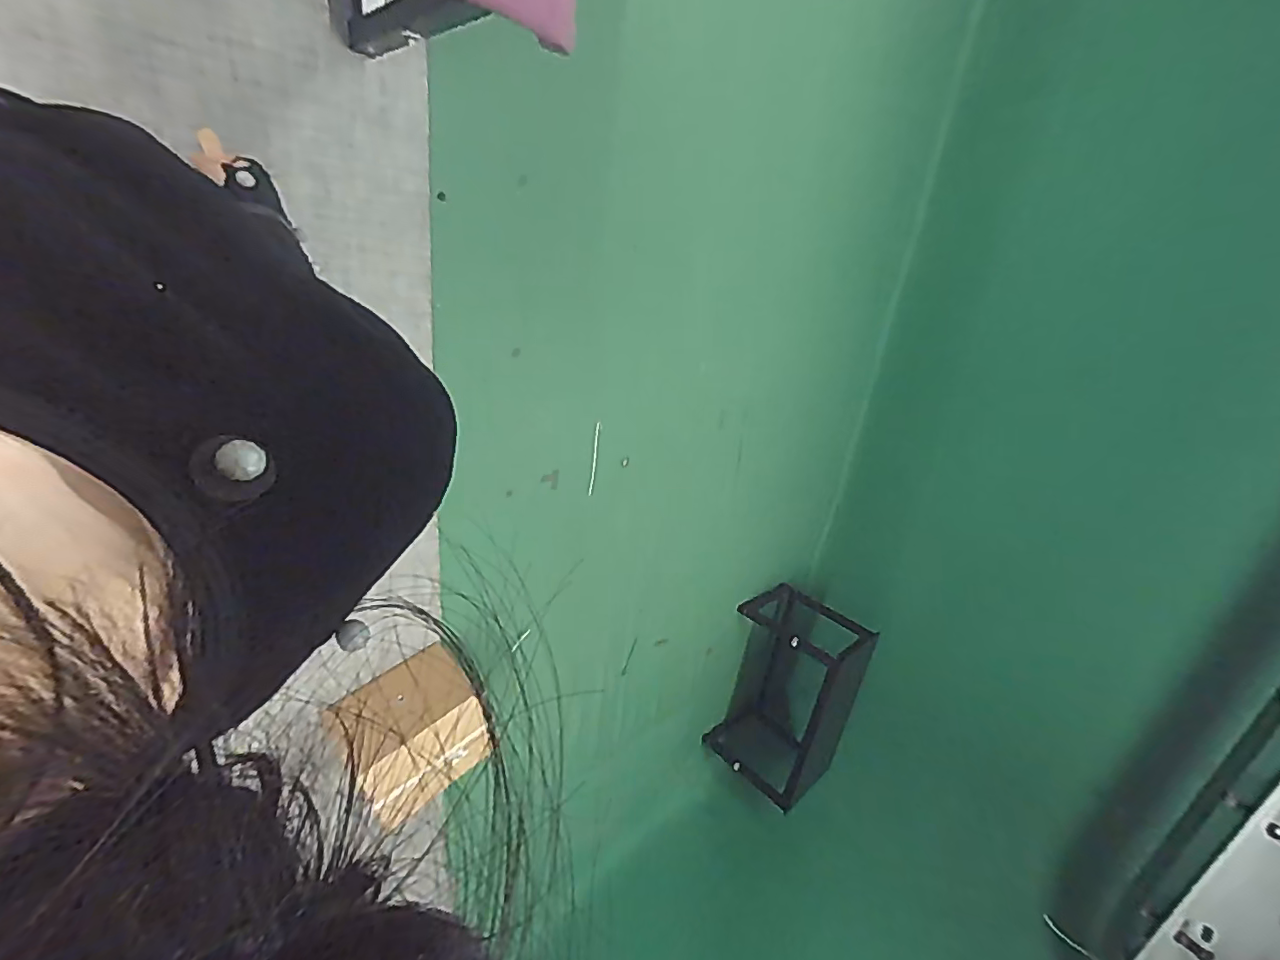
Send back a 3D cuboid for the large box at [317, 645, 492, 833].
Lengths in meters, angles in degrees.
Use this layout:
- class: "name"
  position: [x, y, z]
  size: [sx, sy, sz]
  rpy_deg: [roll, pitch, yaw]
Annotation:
- class: "large box"
  position: [-0.775, 0.844, 1.808]
  size: [0.408, 0.320, 0.320]
  rpy_deg: [-30, 131, -36]
